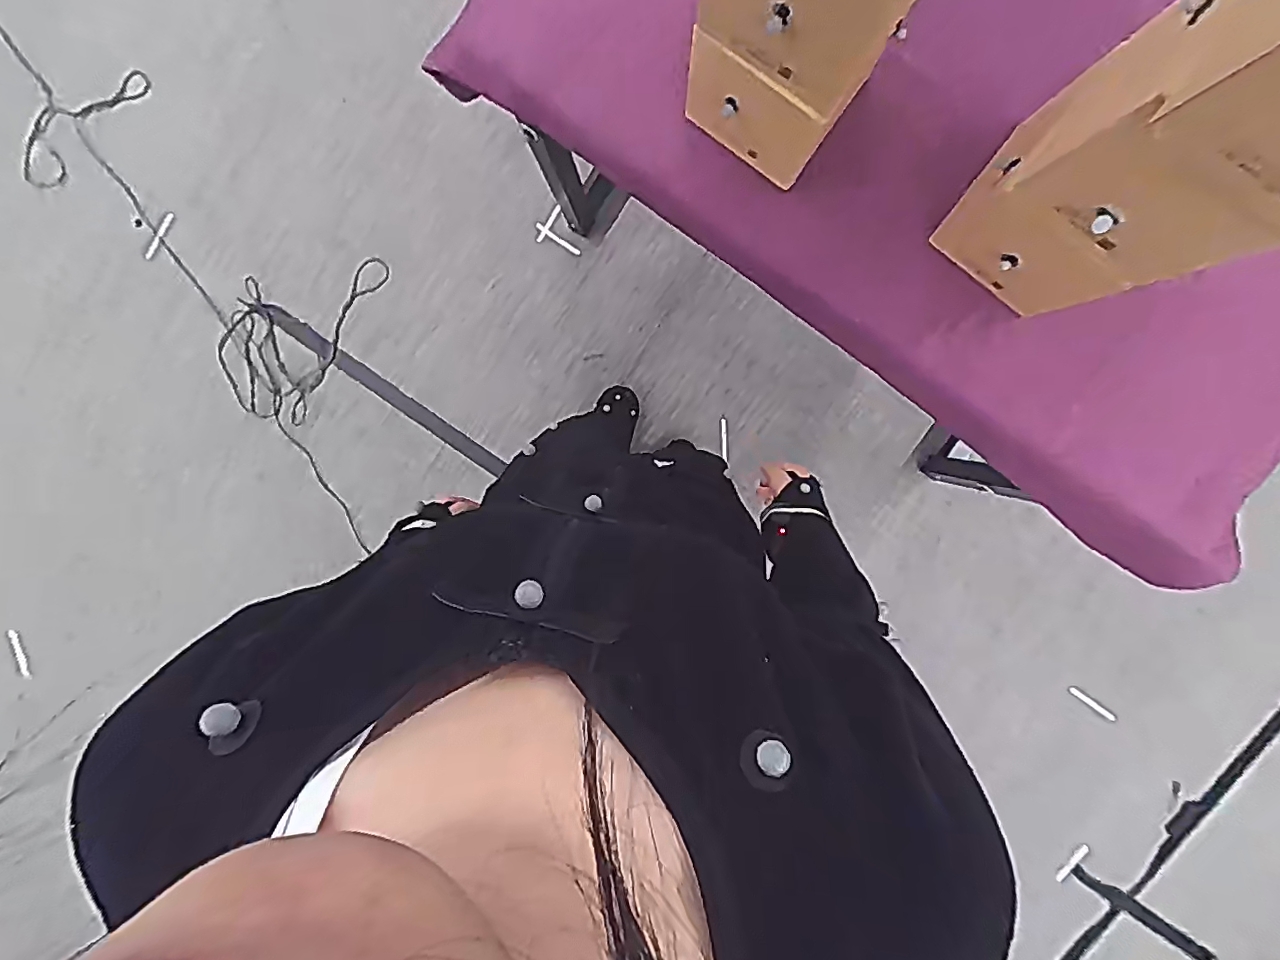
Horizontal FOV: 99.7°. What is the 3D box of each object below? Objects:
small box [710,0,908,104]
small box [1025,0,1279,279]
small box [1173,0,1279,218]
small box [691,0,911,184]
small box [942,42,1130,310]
[{"bbox_3d":[0.169,-0.471,0.450,0.168,0.176,0.179,33,96,-3],"label":"small box"},{"bbox_3d":[0.488,-0.305,0.458,0.168,0.176,0.179,37,97,-2],"label":"small box"},{"bbox_3d":[0.472,-0.267,0.300,0.168,0.176,0.179,34,96,-3],"label":"small box"},{"bbox_3d":[0.170,-0.483,0.614,0.168,0.176,0.179,35,95,-3],"label":"small box"},{"bbox_3d":[0.488,-0.323,0.622,0.168,0.176,0.179,37,96,-3],"label":"small box"}]
